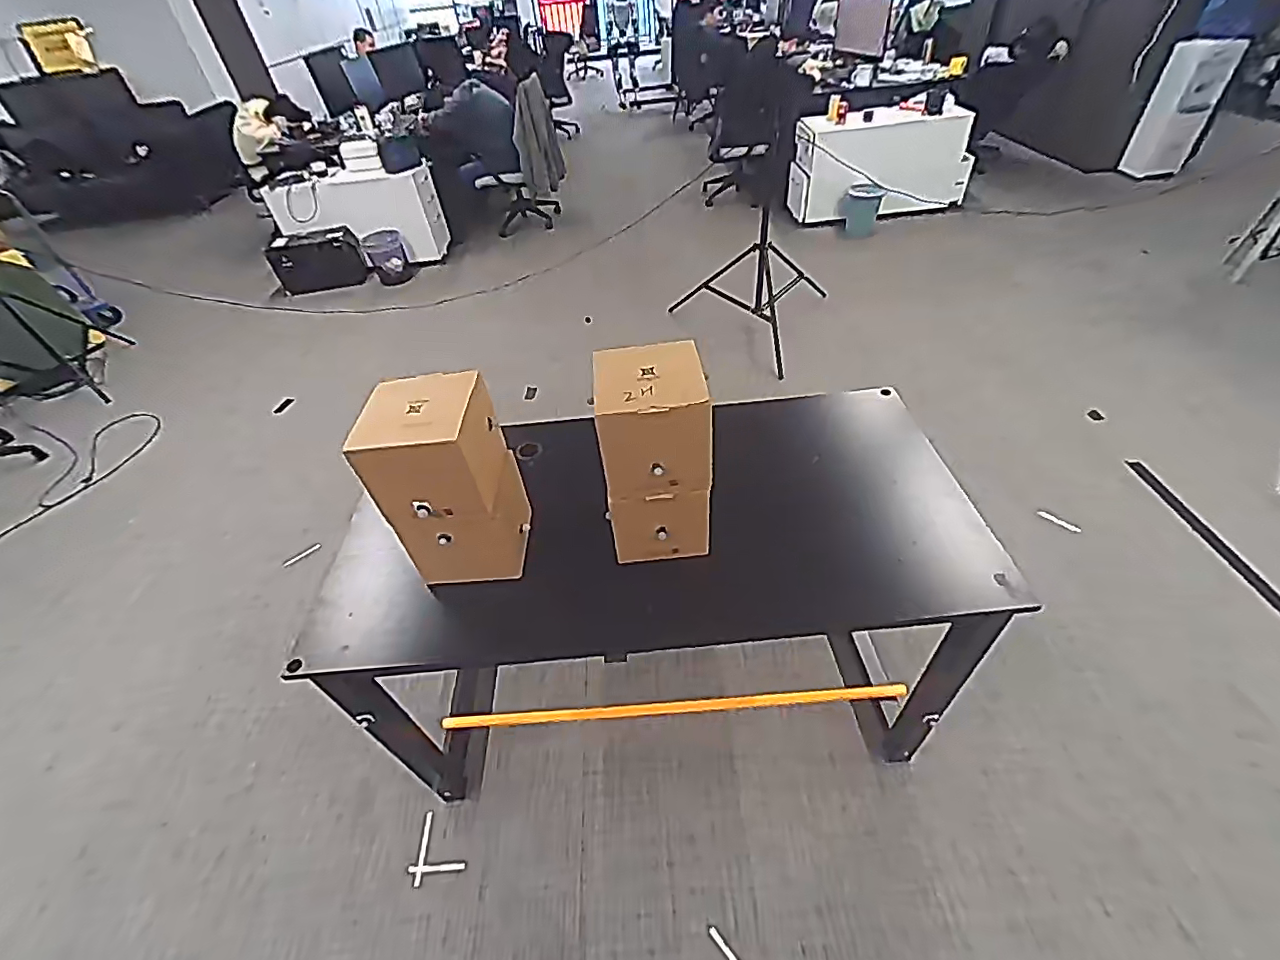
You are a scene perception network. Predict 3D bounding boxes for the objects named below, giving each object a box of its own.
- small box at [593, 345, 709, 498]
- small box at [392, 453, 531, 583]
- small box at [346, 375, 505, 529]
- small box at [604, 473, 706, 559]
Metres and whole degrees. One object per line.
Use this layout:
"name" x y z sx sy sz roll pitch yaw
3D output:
"small box" 0.016 -0.094 0.870 0.168 0.176 0.179 -7 43 1
"small box" -0.308 0.071 0.975 0.179 0.176 0.168 -4 44 2
"small box" -0.324 -0.044 0.862 0.168 0.176 0.179 -6 45 2
"small box" 0.027 0.029 0.981 0.168 0.176 0.179 -6 44 1
